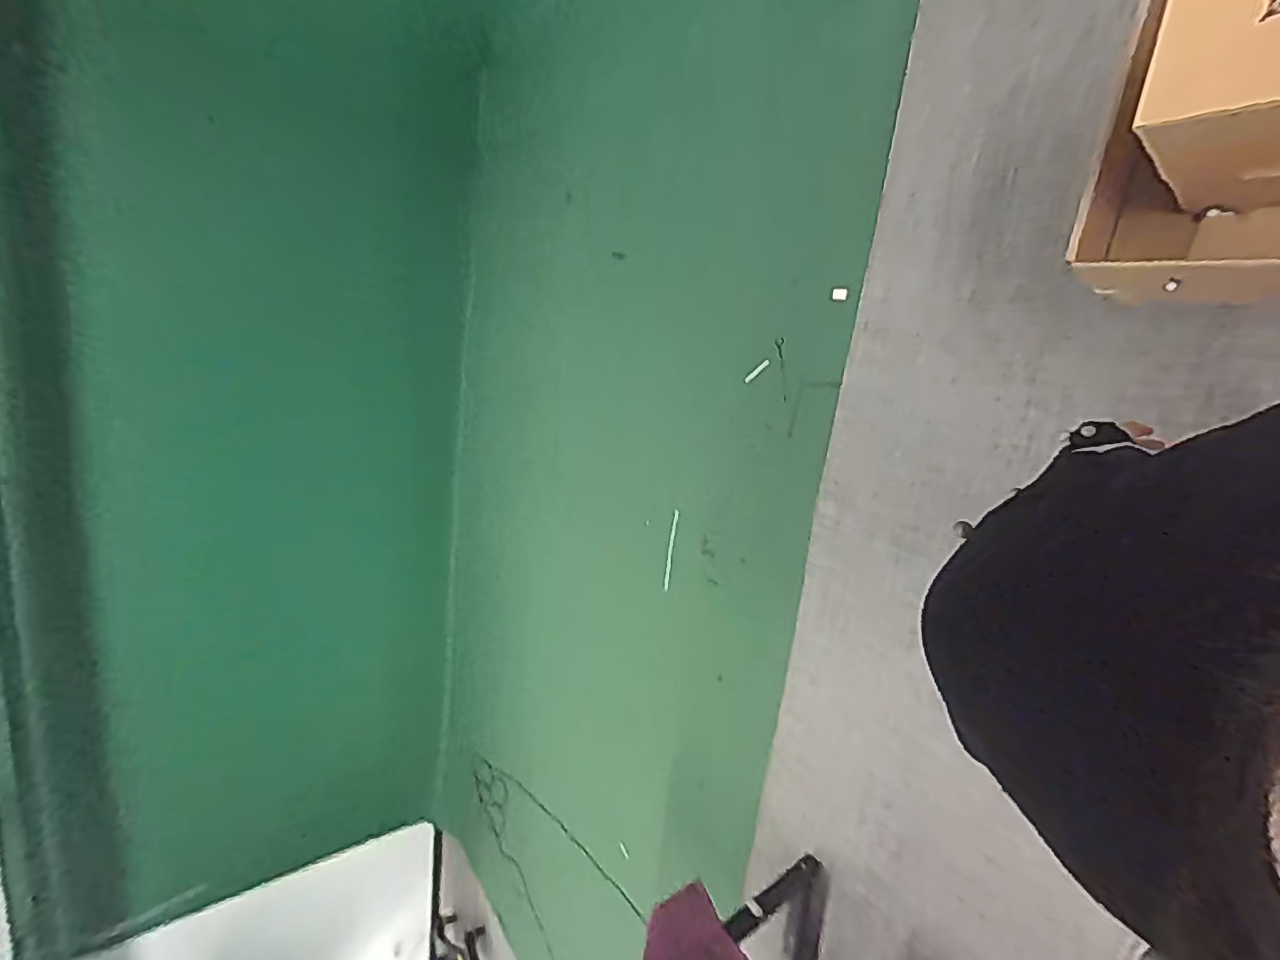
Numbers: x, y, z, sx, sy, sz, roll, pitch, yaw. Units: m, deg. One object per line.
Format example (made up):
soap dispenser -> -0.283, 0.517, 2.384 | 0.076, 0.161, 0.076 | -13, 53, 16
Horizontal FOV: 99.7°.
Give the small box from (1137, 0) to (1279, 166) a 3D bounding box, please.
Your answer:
small box -> 0.633, -0.428, 0.521 | 0.179, 0.176, 0.168 | 22, 109, 48
